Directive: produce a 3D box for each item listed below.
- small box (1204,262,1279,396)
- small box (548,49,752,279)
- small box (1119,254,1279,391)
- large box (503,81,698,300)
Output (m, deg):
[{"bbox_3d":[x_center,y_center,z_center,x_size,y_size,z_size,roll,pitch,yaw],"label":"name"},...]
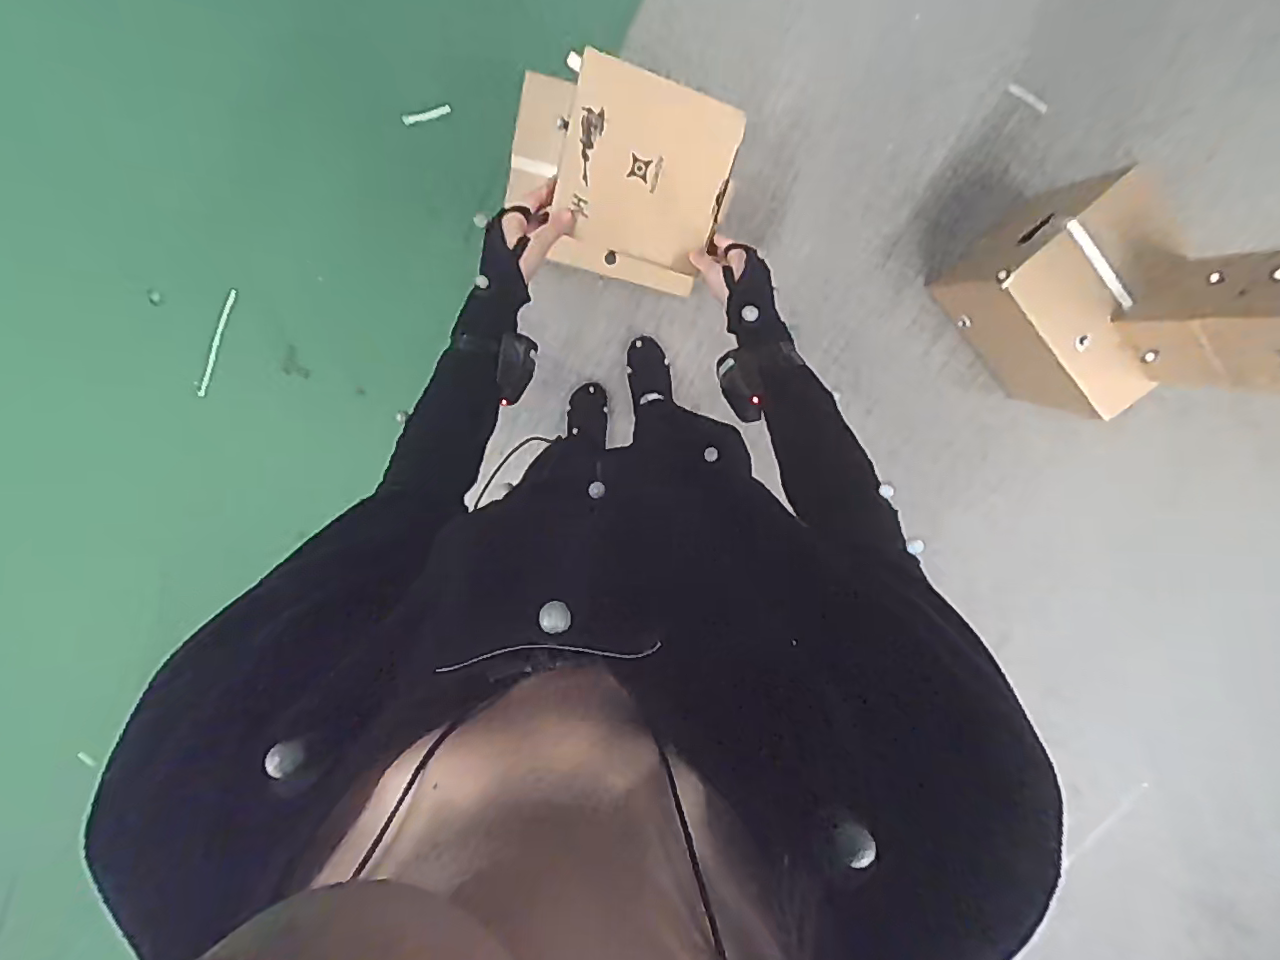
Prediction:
[{"bbox_3d":[1.071,-0.240,0.849,0.168,0.176,0.179,-40,101,11],"label":"small box"},{"bbox_3d":[-0.002,-0.348,0.624,0.179,0.176,0.168,12,112,-15],"label":"small box"},{"bbox_3d":[1.067,-0.291,1.003,0.179,0.176,0.168,-42,101,11],"label":"small box"},{"bbox_3d":[-0.042,-0.600,1.196,0.408,0.320,0.320,15,106,-2],"label":"large box"}]
